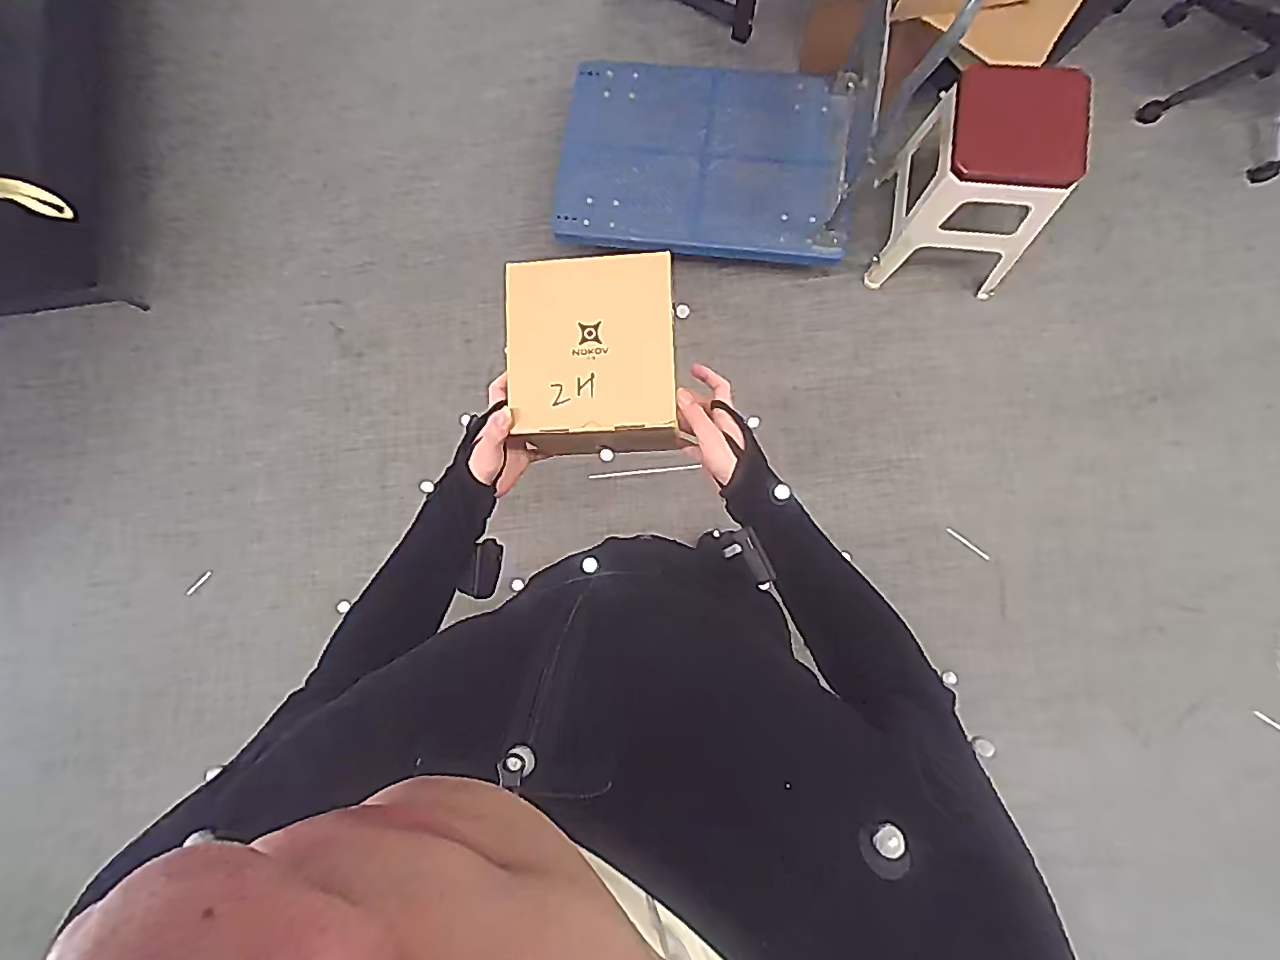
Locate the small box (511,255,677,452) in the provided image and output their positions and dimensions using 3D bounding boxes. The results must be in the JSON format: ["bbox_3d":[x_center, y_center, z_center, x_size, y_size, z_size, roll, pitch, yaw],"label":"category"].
[{"bbox_3d":[-0.043,-0.131,0.617,0.168,0.176,0.179,-2,86,4],"label":"small box"}]
